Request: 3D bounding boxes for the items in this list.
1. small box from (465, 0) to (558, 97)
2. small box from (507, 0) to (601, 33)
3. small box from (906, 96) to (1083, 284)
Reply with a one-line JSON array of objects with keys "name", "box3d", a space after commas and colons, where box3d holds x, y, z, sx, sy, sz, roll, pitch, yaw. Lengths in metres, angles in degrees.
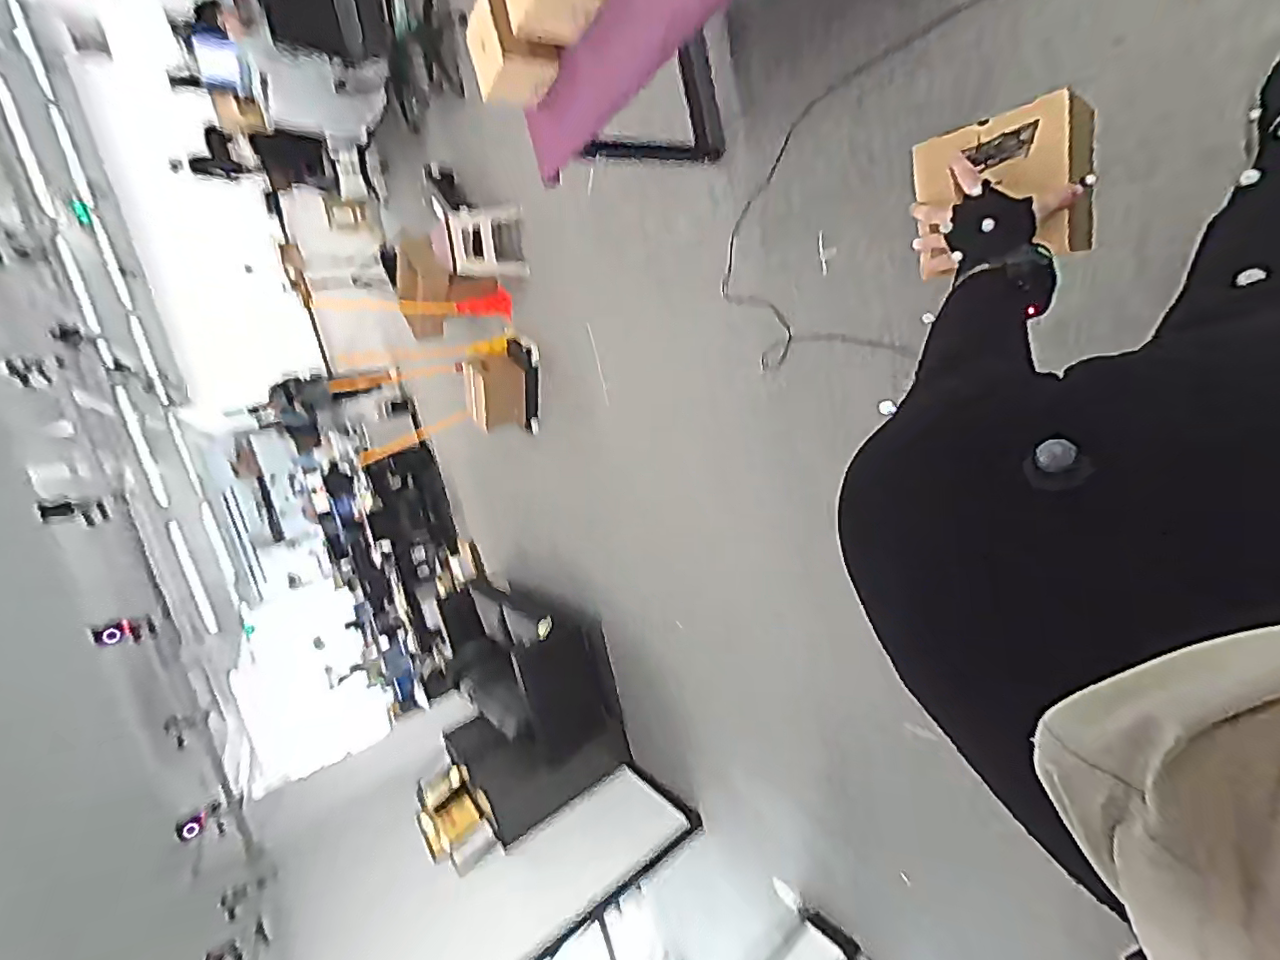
[{"name": "small box", "box3d": [-0.342, -1.164, 1.443, 0.168, 0.176, 0.179, -5, 103, 57]}, {"name": "small box", "box3d": [-0.205, -1.175, 1.235, 0.168, 0.176, 0.179, 5, 111, 55]}, {"name": "small box", "box3d": [0.481, -0.376, 0.733, 0.168, 0.176, 0.179, 3, 110, 47]}]
